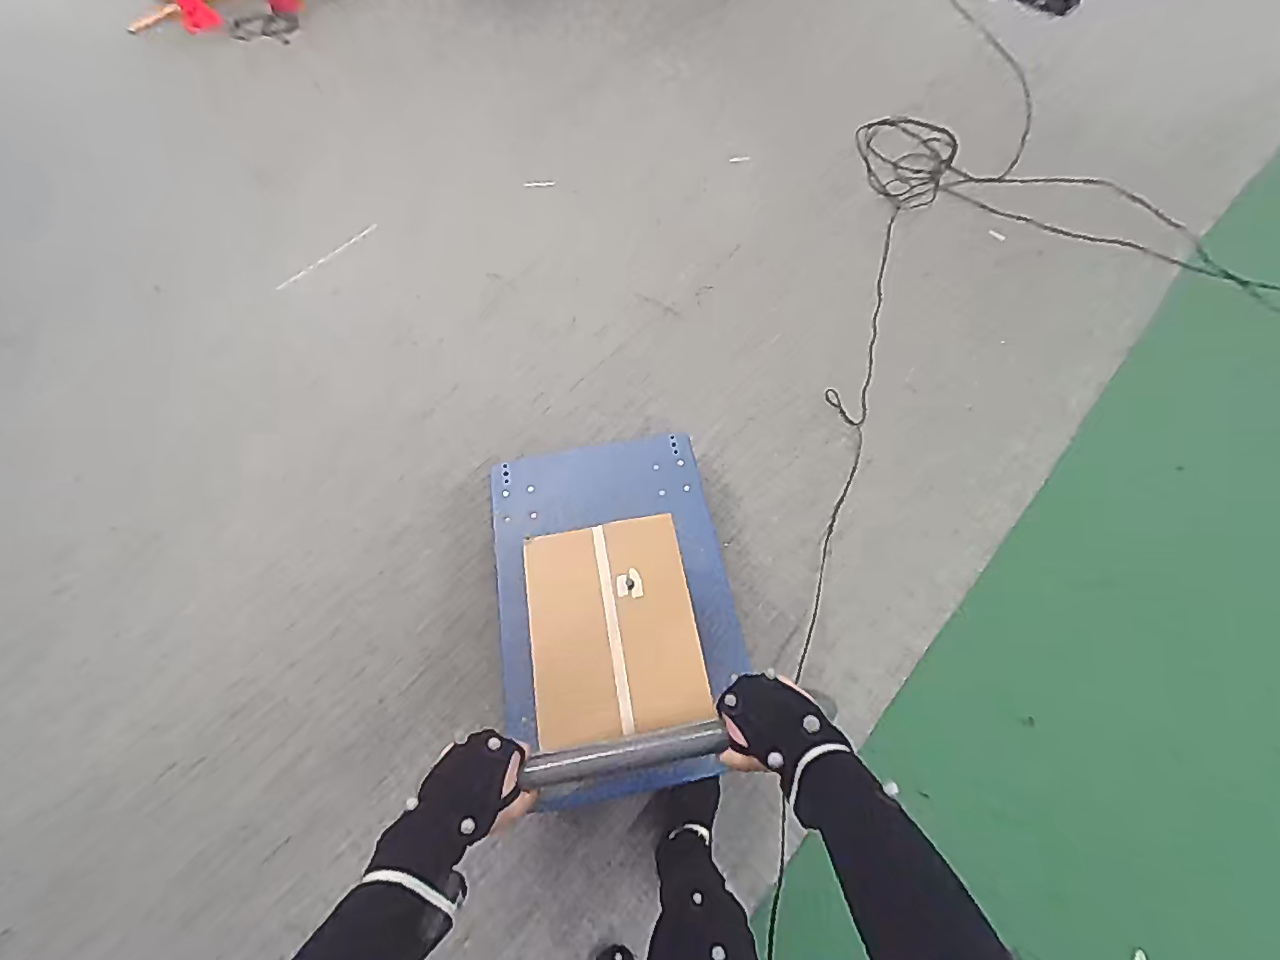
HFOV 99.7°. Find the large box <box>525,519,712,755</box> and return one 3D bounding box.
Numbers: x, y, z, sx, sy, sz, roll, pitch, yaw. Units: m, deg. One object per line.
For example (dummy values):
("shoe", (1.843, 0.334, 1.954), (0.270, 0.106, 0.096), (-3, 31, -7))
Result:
("large box", (-0.047, 0.349, 1.177), (0.320, 0.320, 0.408), (-10, 62, -3))
